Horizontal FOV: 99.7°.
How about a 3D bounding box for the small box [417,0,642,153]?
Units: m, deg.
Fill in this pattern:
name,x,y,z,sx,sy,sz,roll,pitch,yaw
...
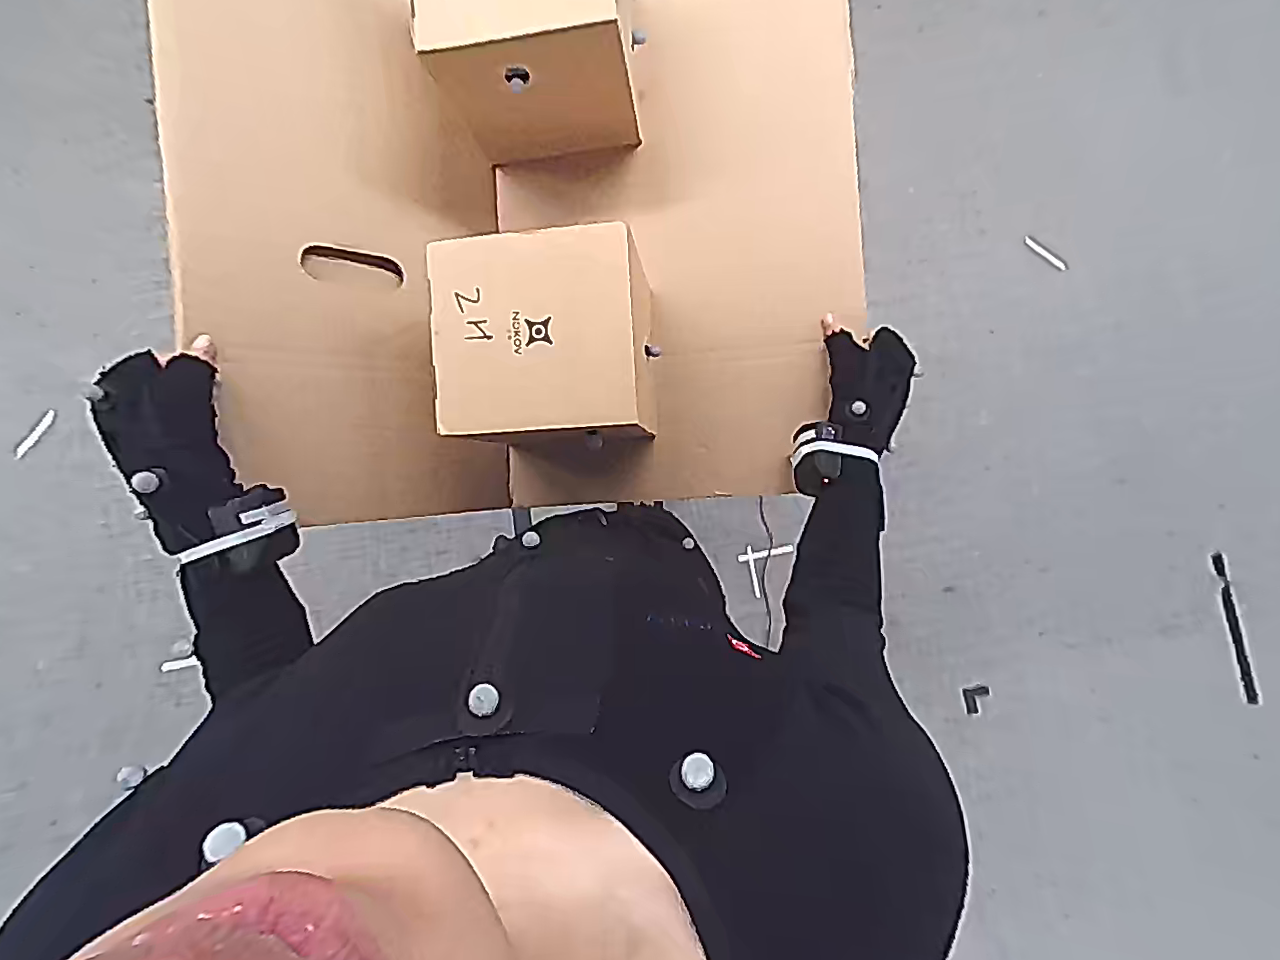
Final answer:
name,x,y,z,sx,sy,sz,roll,pitch,yaw
small box,-0.099,-0.455,0.534,0.179,0.176,0.168,-4,91,7
